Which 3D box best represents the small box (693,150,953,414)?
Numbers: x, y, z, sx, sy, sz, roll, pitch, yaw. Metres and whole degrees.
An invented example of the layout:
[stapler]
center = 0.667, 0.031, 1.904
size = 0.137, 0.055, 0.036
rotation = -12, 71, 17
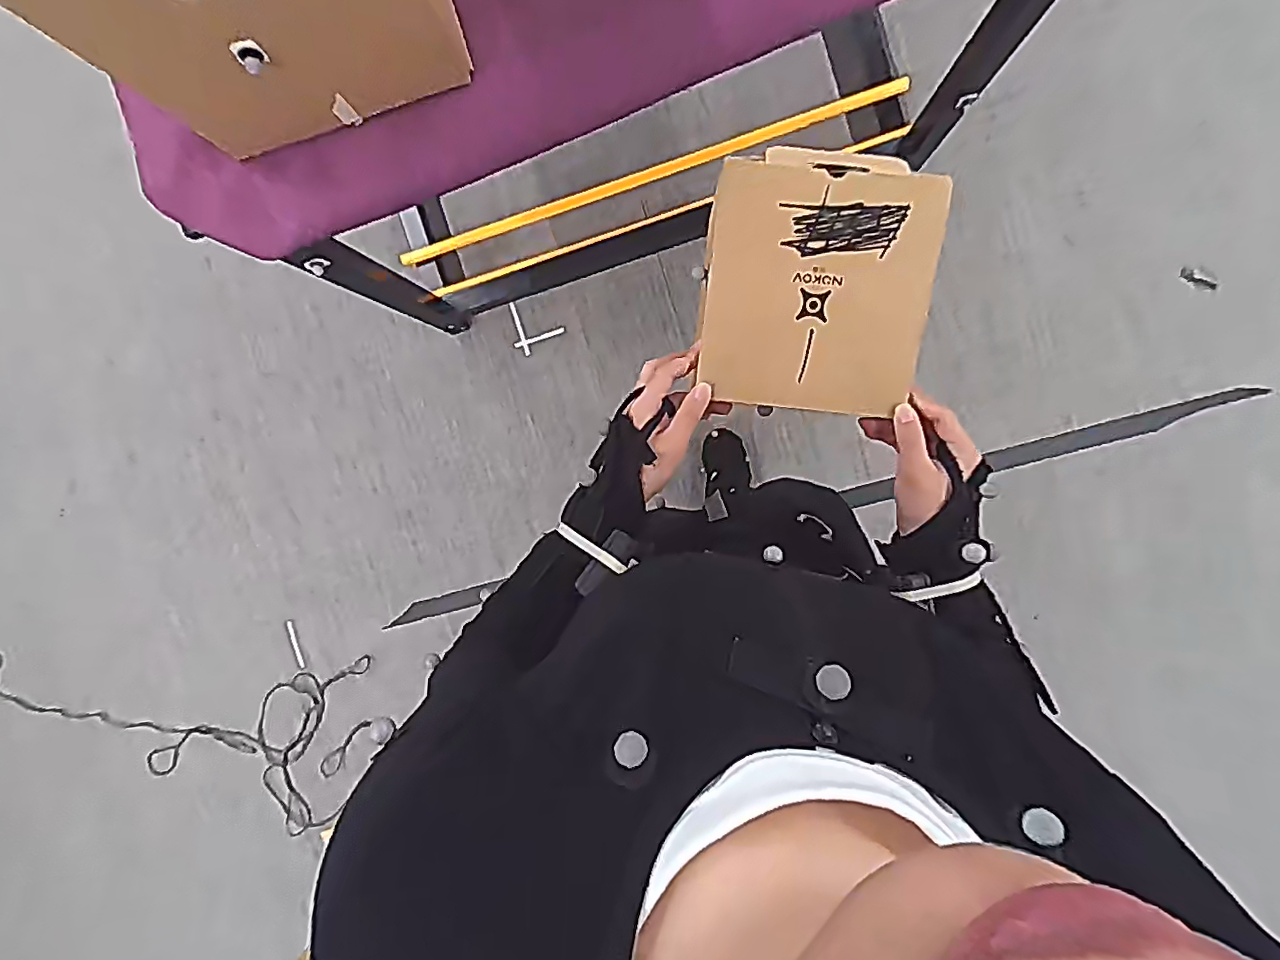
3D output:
[small box]
center = 0.139, -0.161, 0.482
size = 0.168, 0.176, 0.179
rotation = 7, 103, 3
